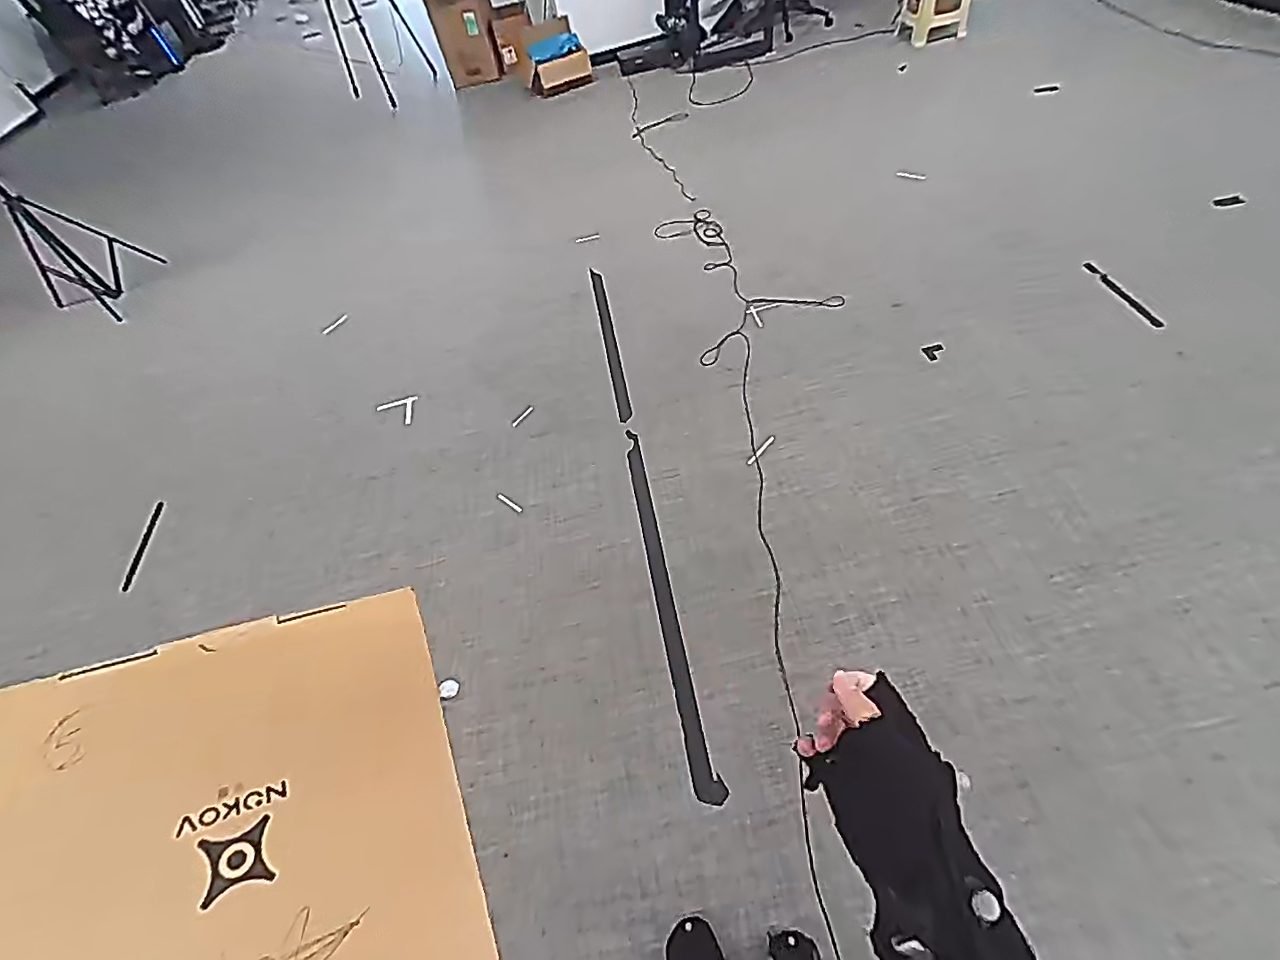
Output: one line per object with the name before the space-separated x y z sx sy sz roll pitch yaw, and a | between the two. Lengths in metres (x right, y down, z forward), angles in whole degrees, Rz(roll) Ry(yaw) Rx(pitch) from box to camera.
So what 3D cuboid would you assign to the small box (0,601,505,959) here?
small box | -0.182 0.190 0.287 0.168 0.176 0.179 -11 65 -27
